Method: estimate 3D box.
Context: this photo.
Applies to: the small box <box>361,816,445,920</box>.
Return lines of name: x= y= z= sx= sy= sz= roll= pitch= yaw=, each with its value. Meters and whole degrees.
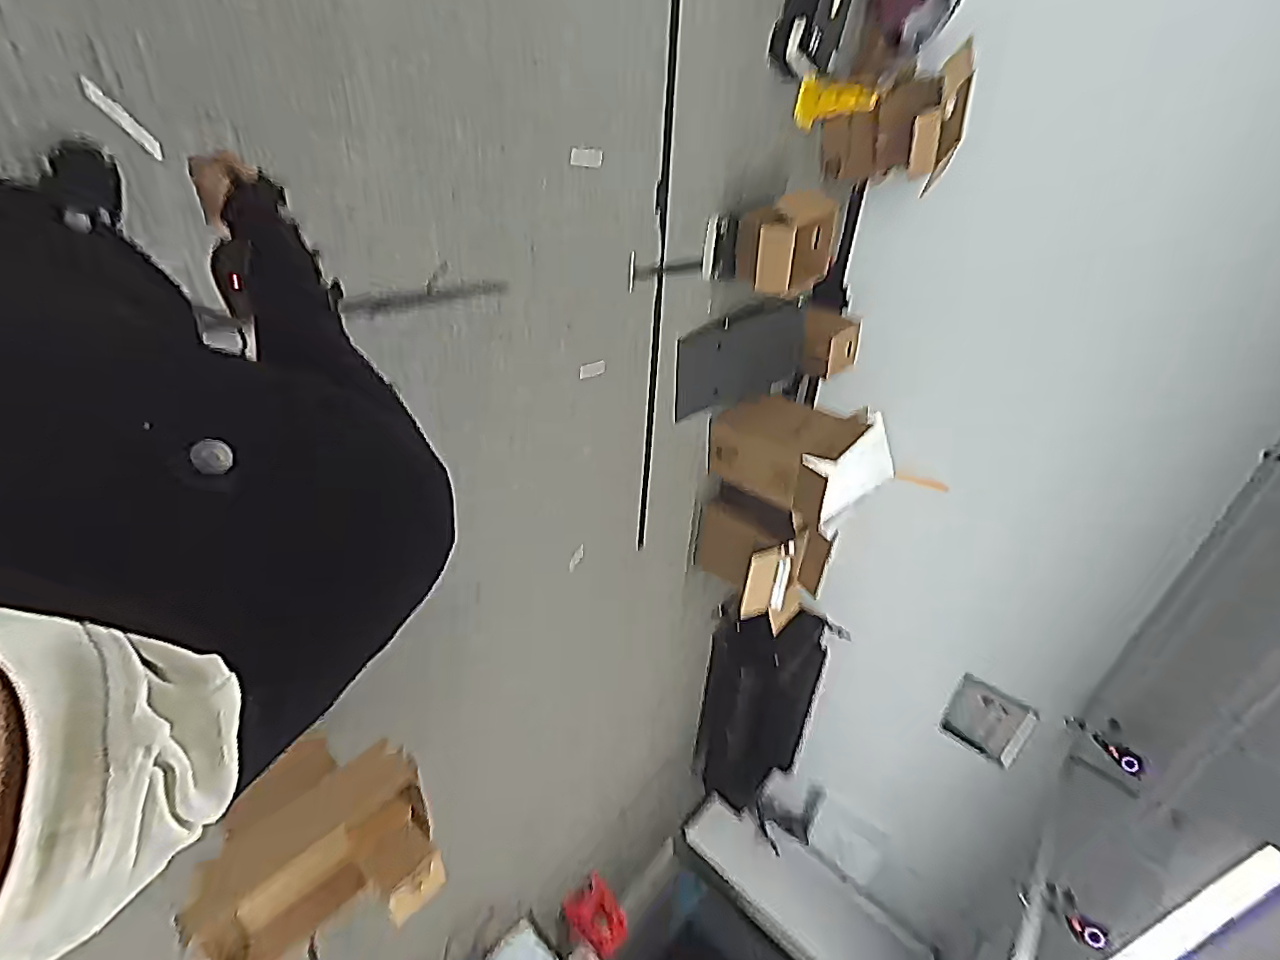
small box: x=-0.729 y=1.181 z=1.660 sx=0.168 sy=0.176 sz=0.179 roll=-30 pitch=135 yaw=-41

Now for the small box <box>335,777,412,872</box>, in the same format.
small box: x=-0.851 y=1.106 z=1.743 sx=0.168 sy=0.176 sz=0.179 roll=-30 pitch=135 yaw=-41
